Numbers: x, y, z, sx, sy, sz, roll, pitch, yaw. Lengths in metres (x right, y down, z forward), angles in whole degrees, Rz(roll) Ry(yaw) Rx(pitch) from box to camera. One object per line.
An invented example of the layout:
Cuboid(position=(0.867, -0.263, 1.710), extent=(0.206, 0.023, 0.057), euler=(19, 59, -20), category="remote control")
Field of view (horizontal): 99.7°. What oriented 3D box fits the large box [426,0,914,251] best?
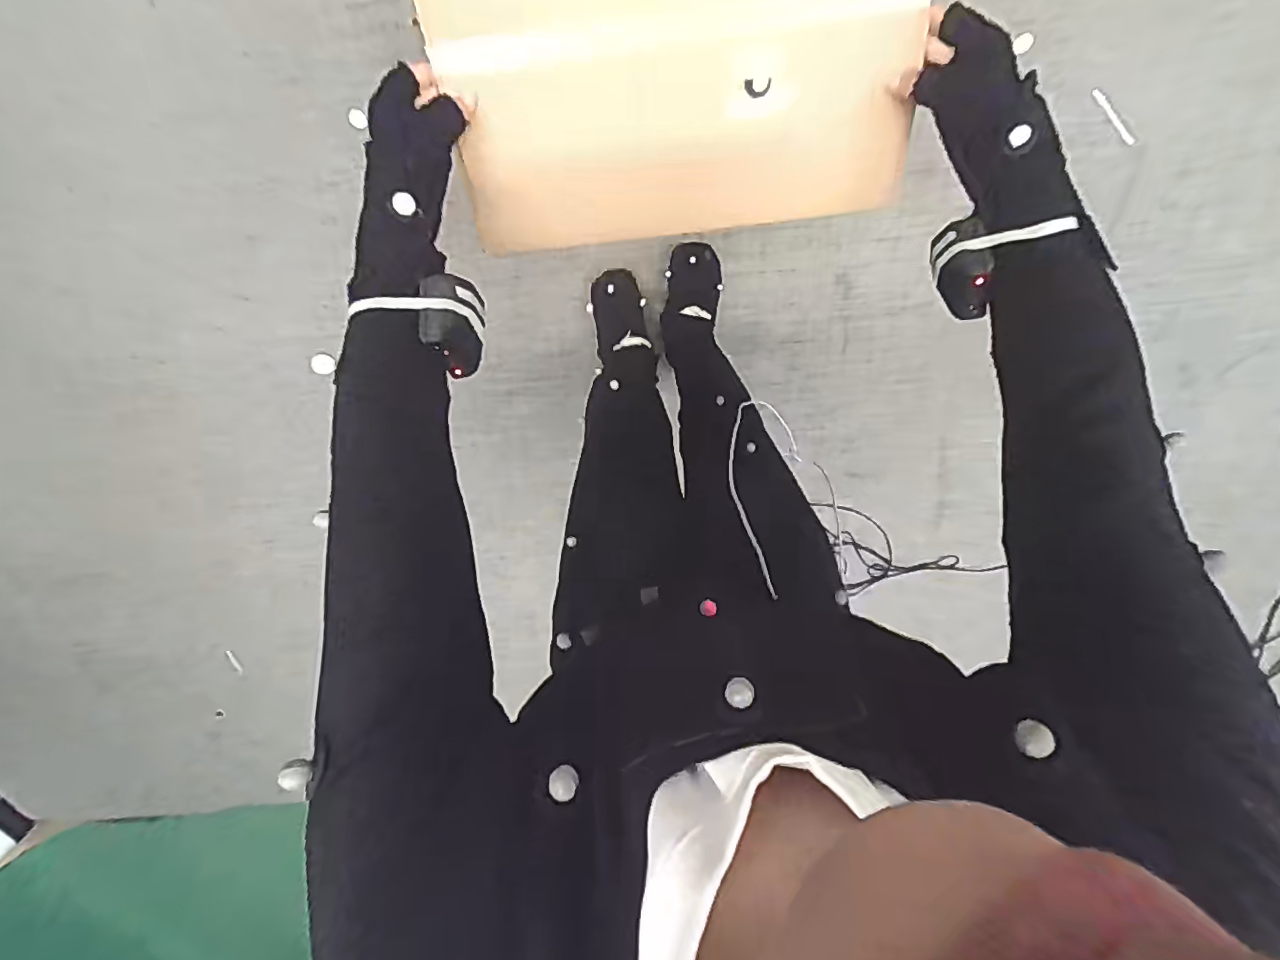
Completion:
Cuboid(position=(0.024, -0.465, 0.570), extent=(0.408, 0.320, 0.320), euler=(-6, 127, 3), category="large box")
